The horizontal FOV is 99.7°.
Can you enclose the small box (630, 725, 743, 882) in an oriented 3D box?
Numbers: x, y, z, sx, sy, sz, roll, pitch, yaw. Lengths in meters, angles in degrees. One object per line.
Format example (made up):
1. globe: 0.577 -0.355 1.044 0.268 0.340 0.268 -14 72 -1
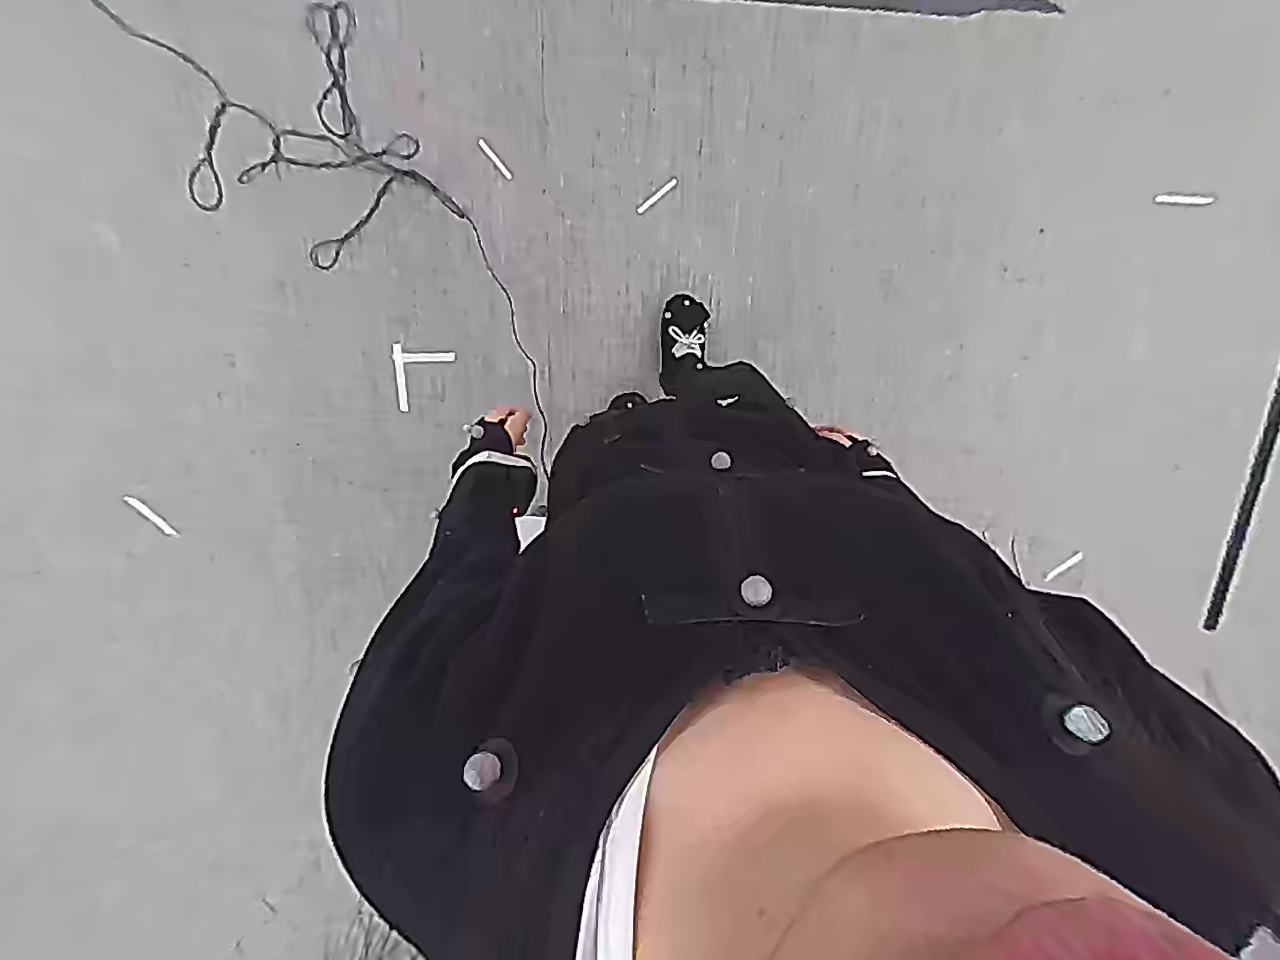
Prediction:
1. small box: 0.072 0.555 0.945 0.168 0.176 0.179 4 104 -3
